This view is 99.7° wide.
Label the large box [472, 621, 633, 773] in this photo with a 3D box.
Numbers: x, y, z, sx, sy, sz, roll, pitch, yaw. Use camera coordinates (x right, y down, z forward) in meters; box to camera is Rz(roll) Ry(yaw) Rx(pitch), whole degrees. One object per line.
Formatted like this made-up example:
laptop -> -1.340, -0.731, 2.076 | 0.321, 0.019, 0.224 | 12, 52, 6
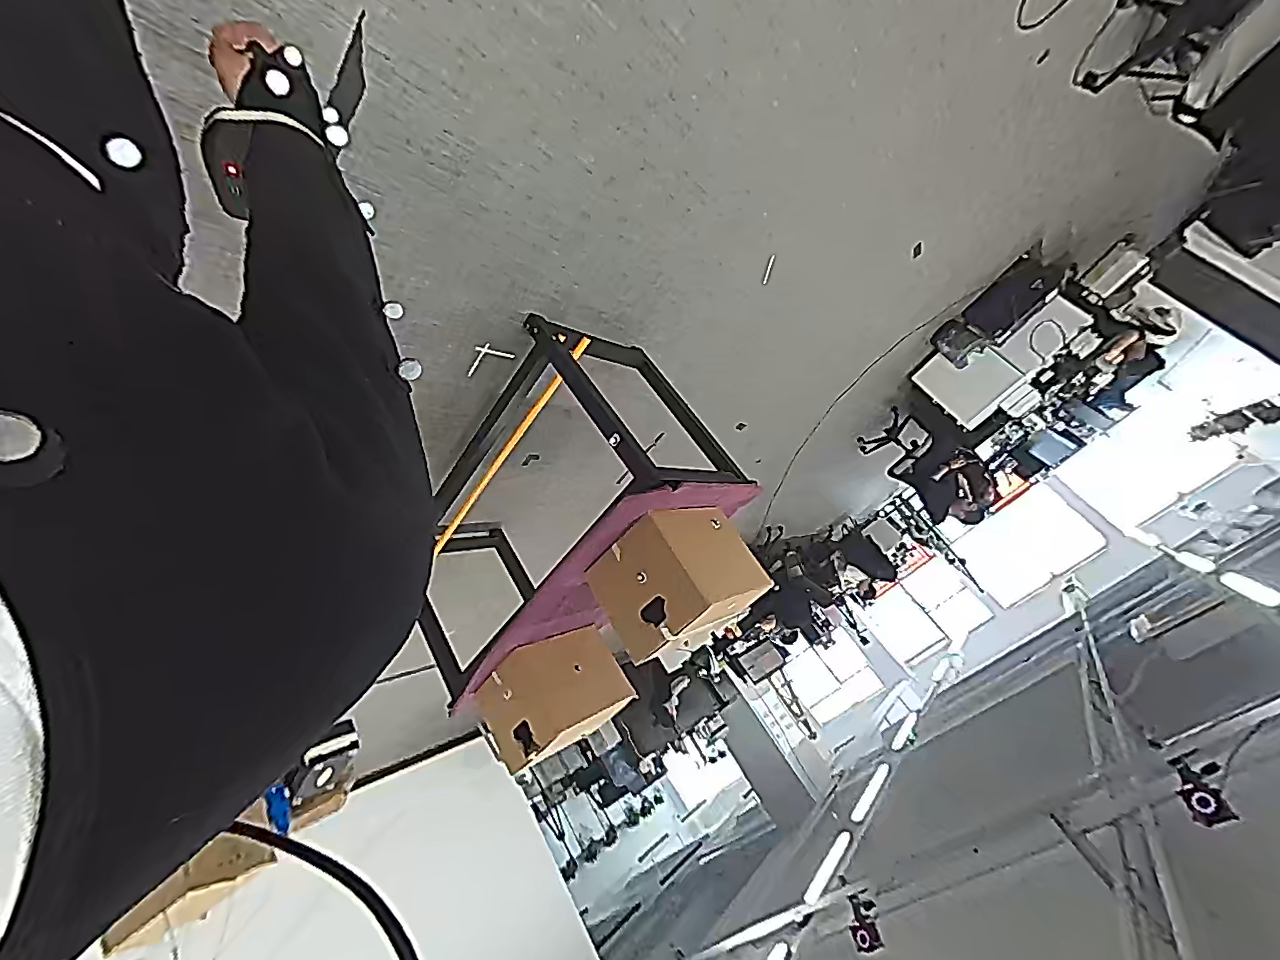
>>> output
large box -> -0.313, 0.754, 1.933 | 0.320, 0.320, 0.408 | -48, 155, 26
